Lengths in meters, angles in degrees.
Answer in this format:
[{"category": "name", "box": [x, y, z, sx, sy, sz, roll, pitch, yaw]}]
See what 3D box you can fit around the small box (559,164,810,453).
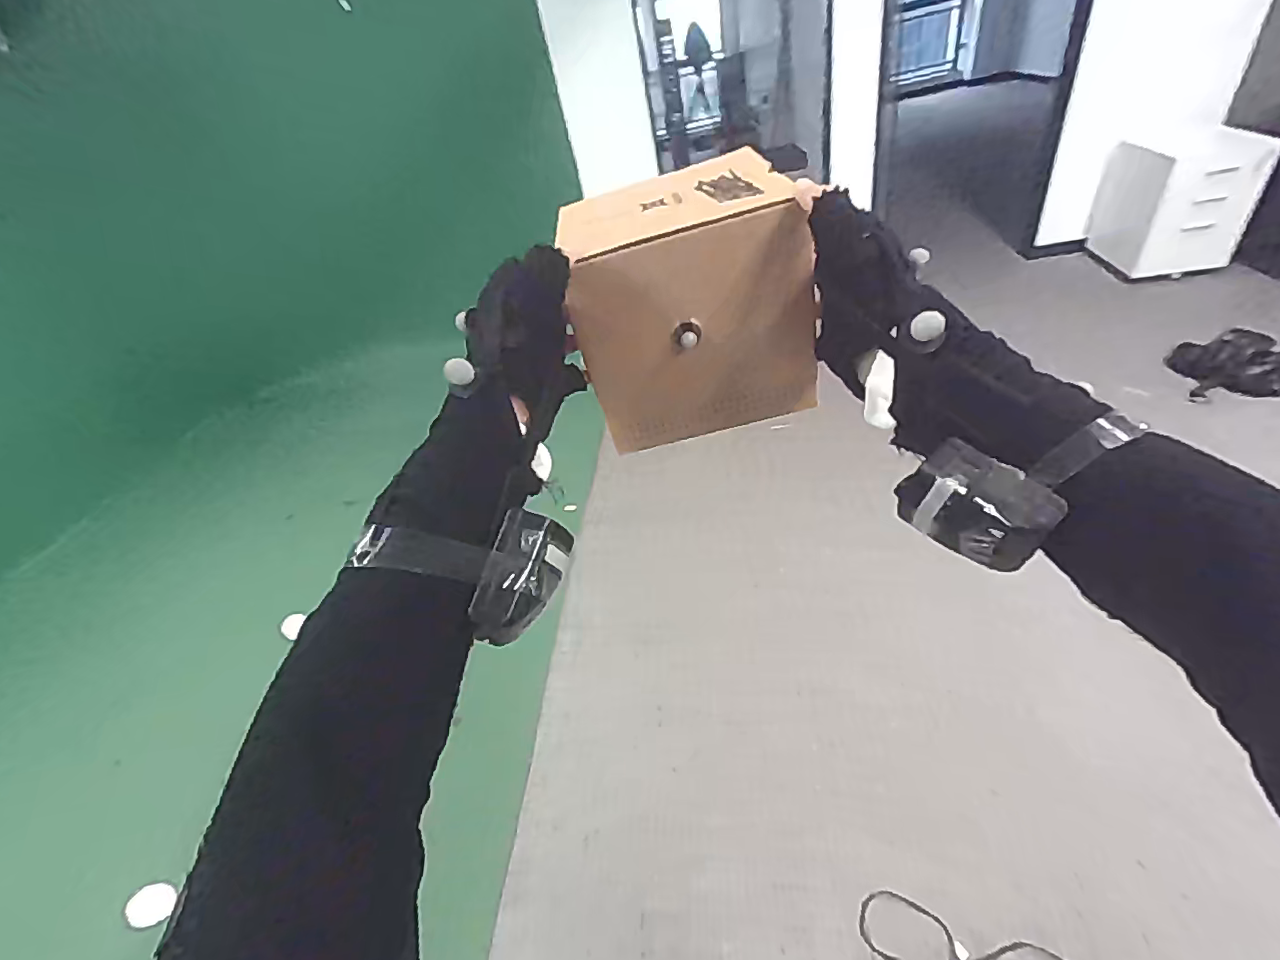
[{"category": "small box", "box": [0.043, -0.149, 0.477, 0.179, 0.176, 0.168, -14, 38, 7]}]
